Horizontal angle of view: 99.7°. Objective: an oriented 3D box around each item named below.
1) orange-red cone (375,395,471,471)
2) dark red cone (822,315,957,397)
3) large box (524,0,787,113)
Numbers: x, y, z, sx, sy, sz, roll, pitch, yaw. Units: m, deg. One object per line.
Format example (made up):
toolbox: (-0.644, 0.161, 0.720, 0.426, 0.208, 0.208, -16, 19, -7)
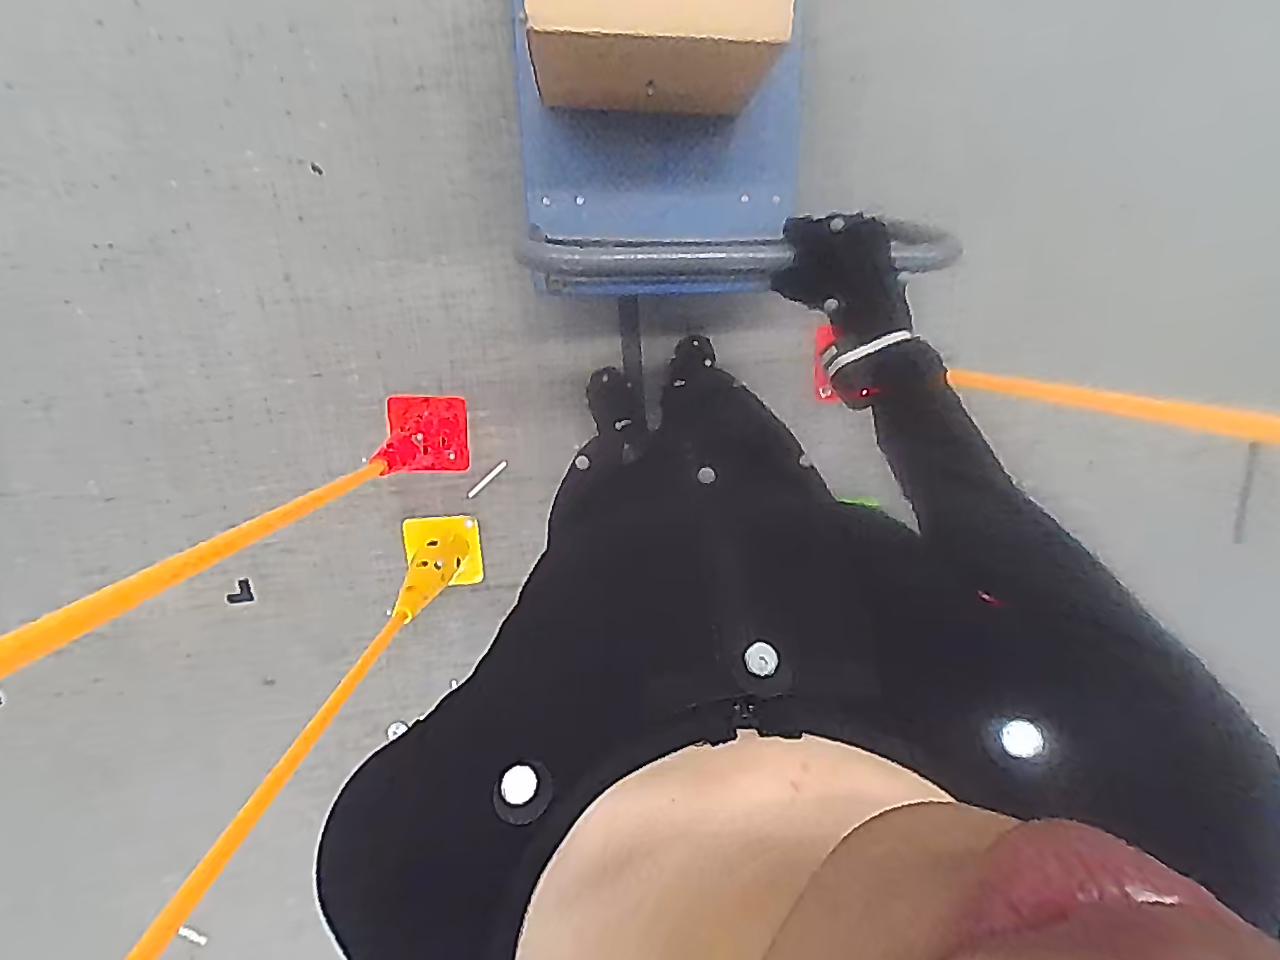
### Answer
orange-red cone: (-0.527, -0.079, 1.243, 0.198, 0.360, 0.199, 1, 104, -6)
dark red cone: (0.589, -0.278, 1.255, 0.201, 0.394, 0.202, -7, 106, -5)
large box: (0.017, -0.855, 0.923, 0.408, 0.320, 0.320, -1, 106, -4)
